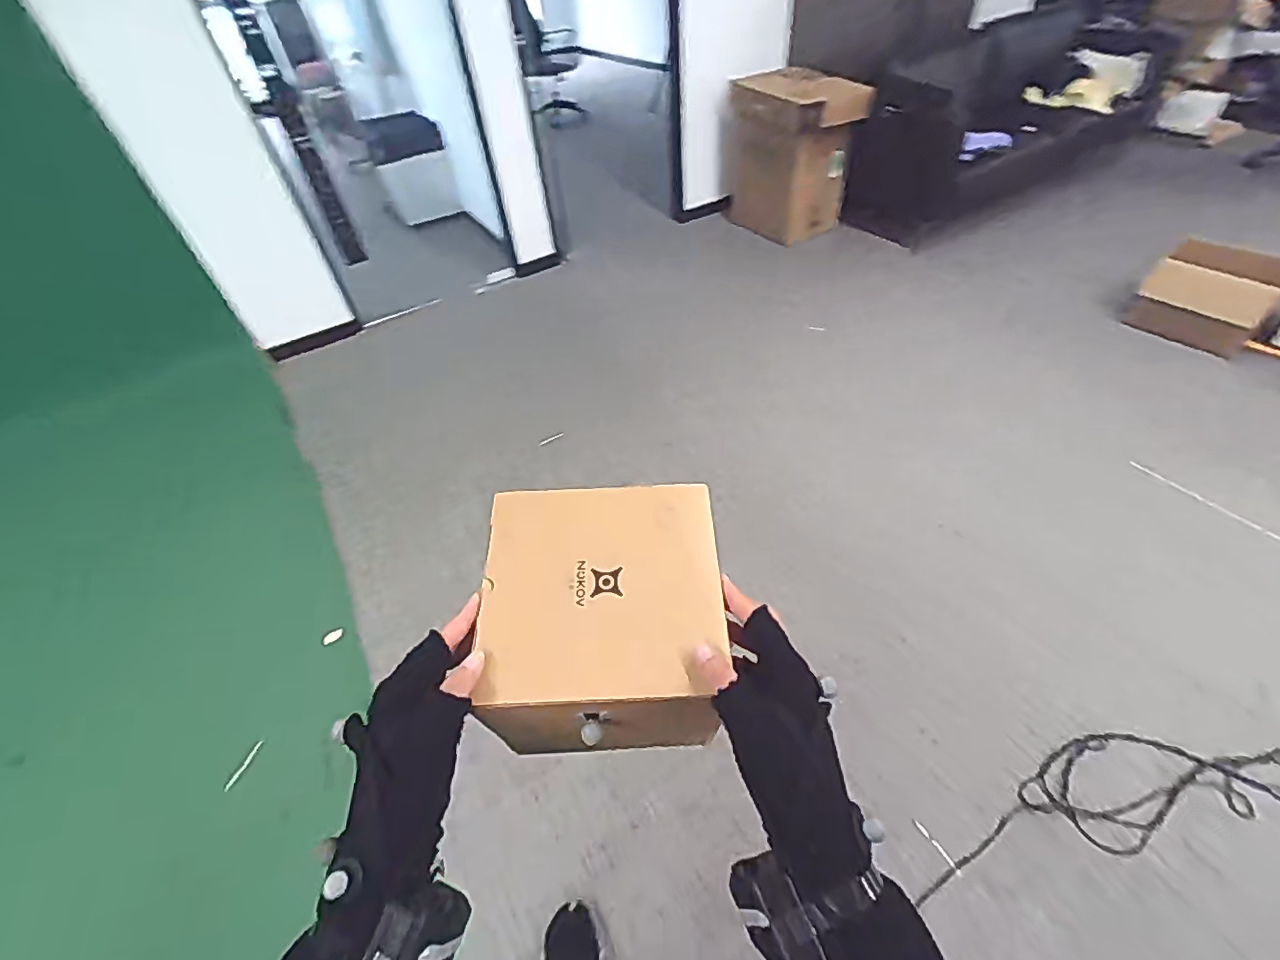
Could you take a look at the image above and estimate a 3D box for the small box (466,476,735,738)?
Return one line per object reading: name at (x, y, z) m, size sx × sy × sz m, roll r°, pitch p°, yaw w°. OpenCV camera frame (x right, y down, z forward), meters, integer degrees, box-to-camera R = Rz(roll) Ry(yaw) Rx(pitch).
small box at (-0.025, 0.112, 0.456) m, size 0.179 × 0.176 × 0.168 m, roll -2°, pitch 54°, yaw 1°
